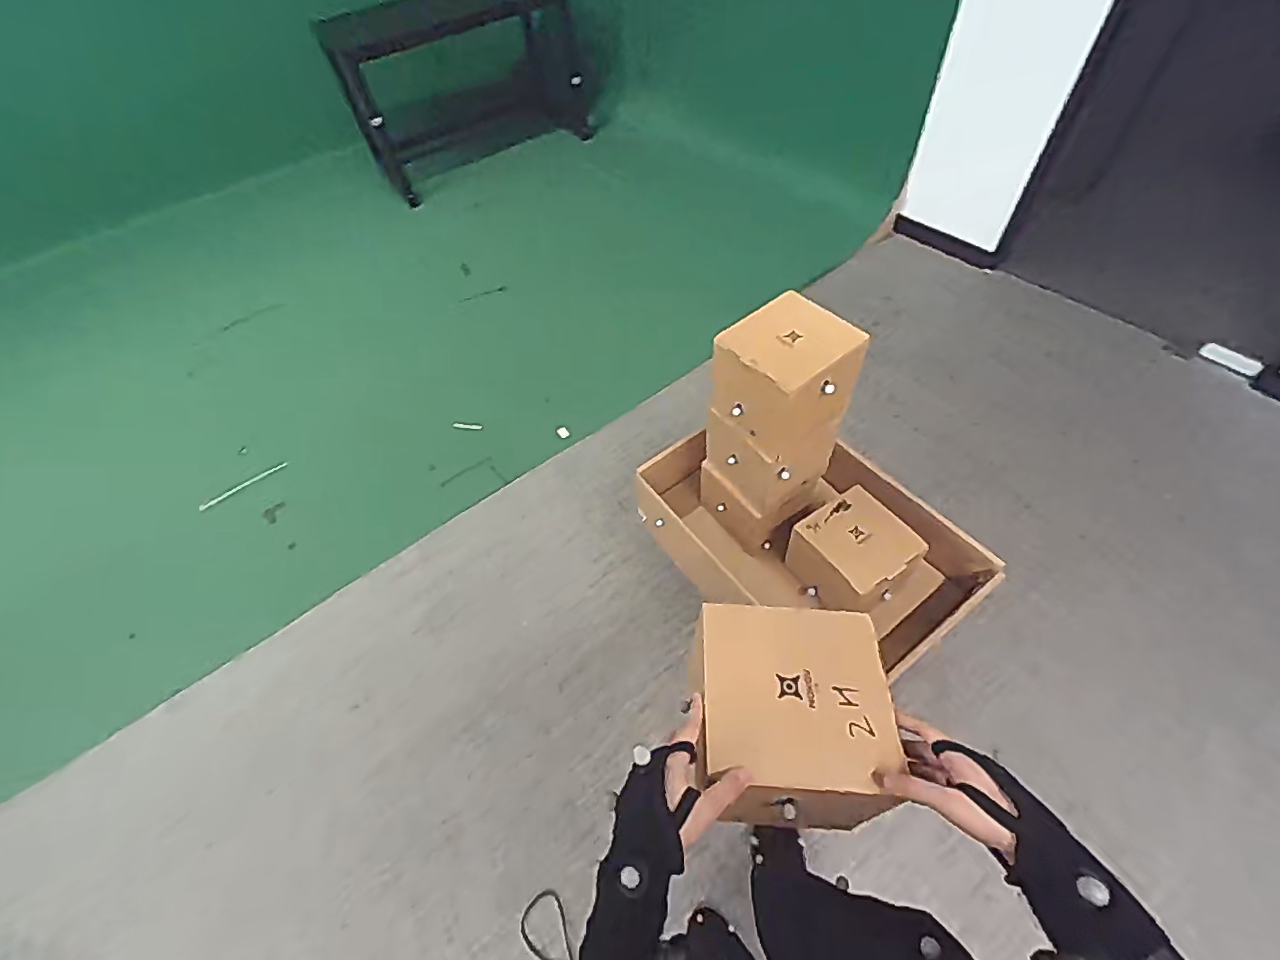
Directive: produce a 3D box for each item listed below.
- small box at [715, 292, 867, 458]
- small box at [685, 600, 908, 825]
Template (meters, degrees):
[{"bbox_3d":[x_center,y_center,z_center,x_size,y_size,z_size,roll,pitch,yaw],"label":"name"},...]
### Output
[{"bbox_3d":[0.238,-0.173,0.902,0.179,0.176,0.168,-35,58,-17],"label":"small box"},{"bbox_3d":[0.140,0.243,0.558,0.179,0.176,0.168,5,49,1],"label":"small box"}]
